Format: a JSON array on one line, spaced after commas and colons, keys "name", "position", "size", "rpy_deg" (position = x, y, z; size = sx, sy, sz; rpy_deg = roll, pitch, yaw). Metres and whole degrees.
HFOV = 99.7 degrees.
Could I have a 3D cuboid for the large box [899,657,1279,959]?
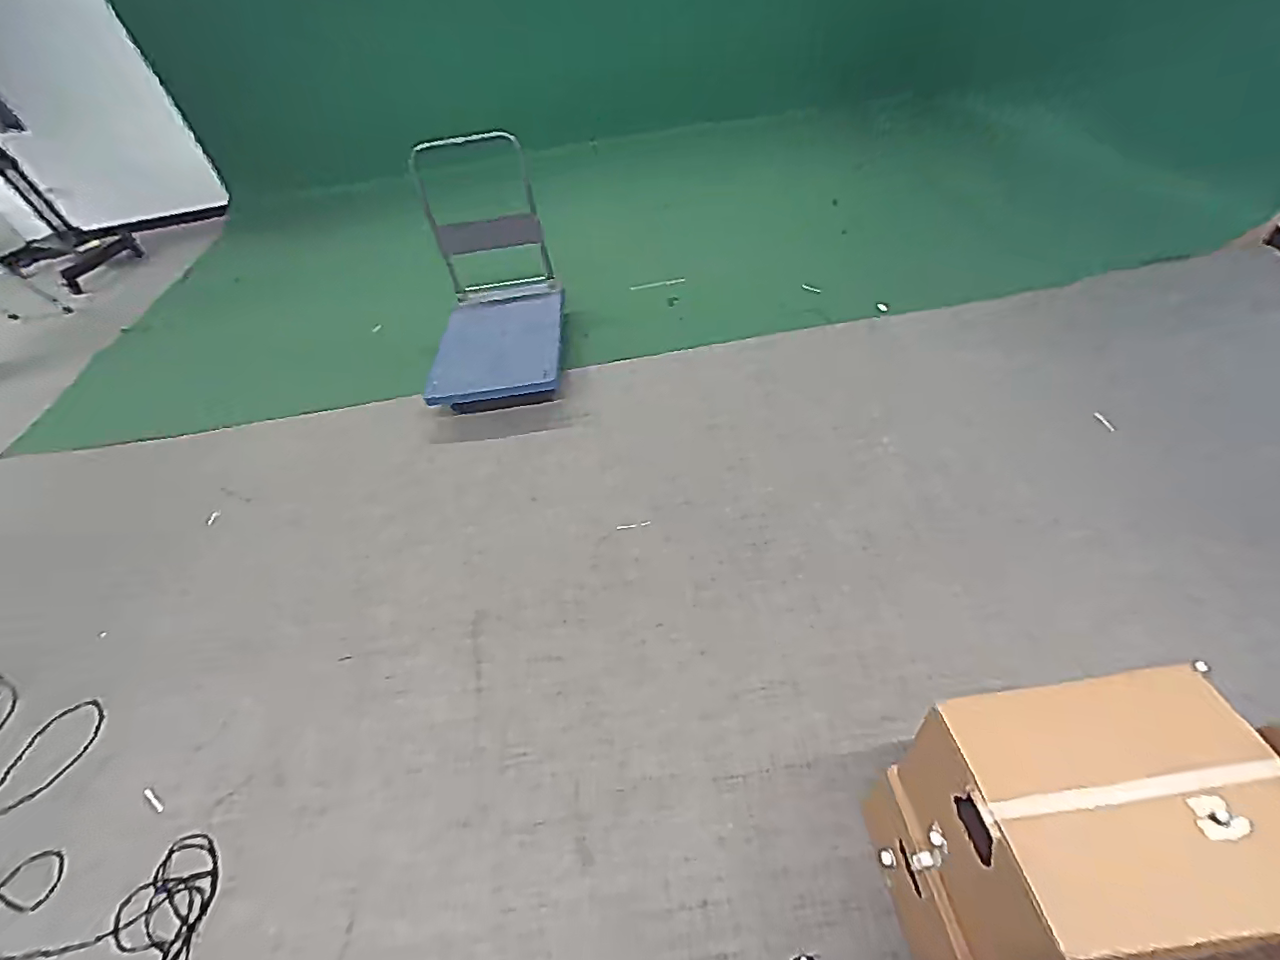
[{"name": "large box", "position": [0.685, 0.518, 0.829], "size": [0.408, 0.320, 0.320], "rpy_deg": [-9, 43, 1]}]
